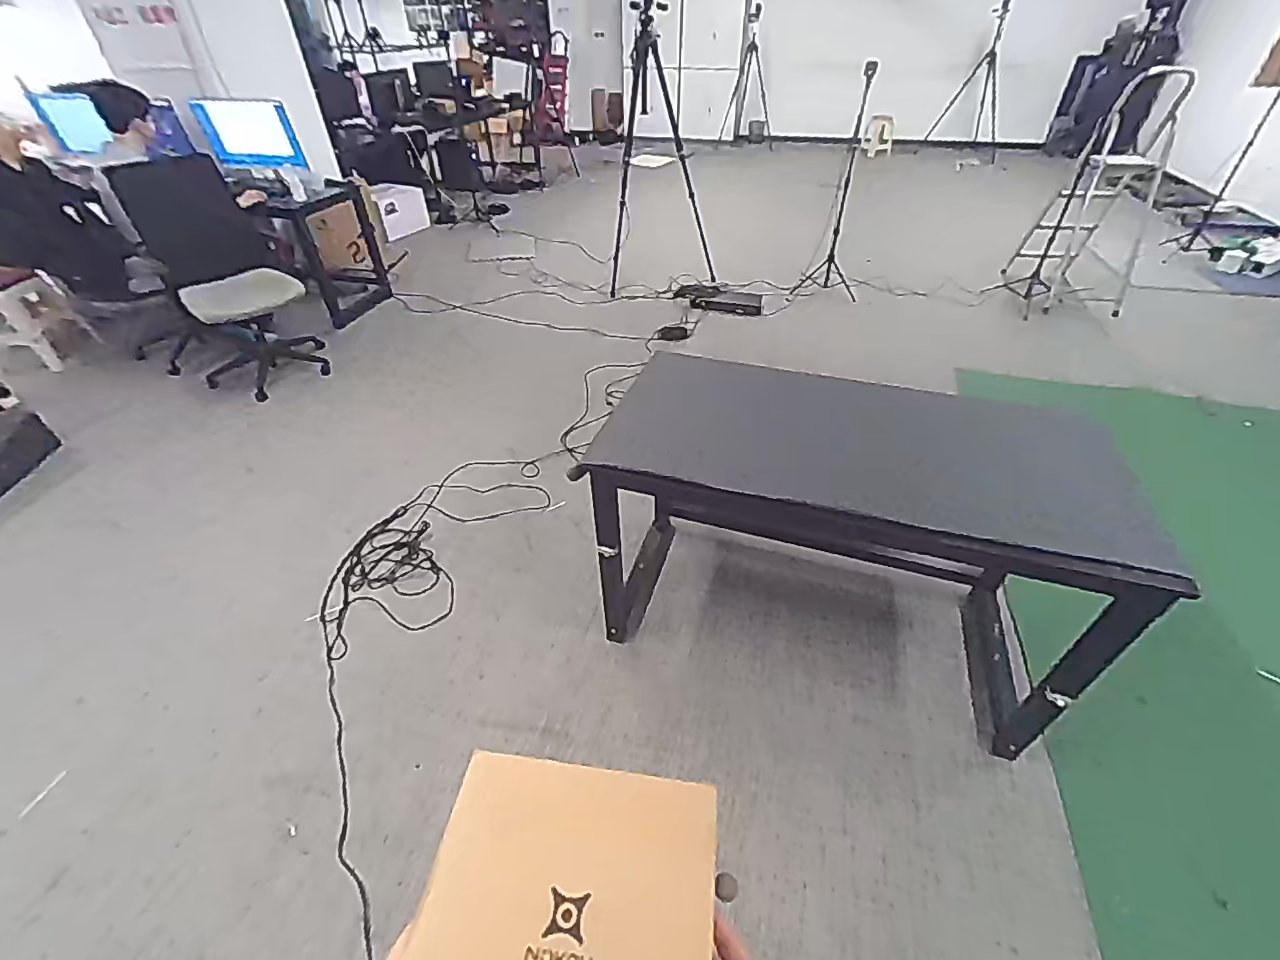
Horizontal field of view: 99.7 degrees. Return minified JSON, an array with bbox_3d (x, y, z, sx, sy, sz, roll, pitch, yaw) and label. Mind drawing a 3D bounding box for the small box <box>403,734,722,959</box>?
[{"bbox_3d":[-0.039,0.298,0.352,0.168,0.176,0.179,5,42,6],"label":"small box"}]
